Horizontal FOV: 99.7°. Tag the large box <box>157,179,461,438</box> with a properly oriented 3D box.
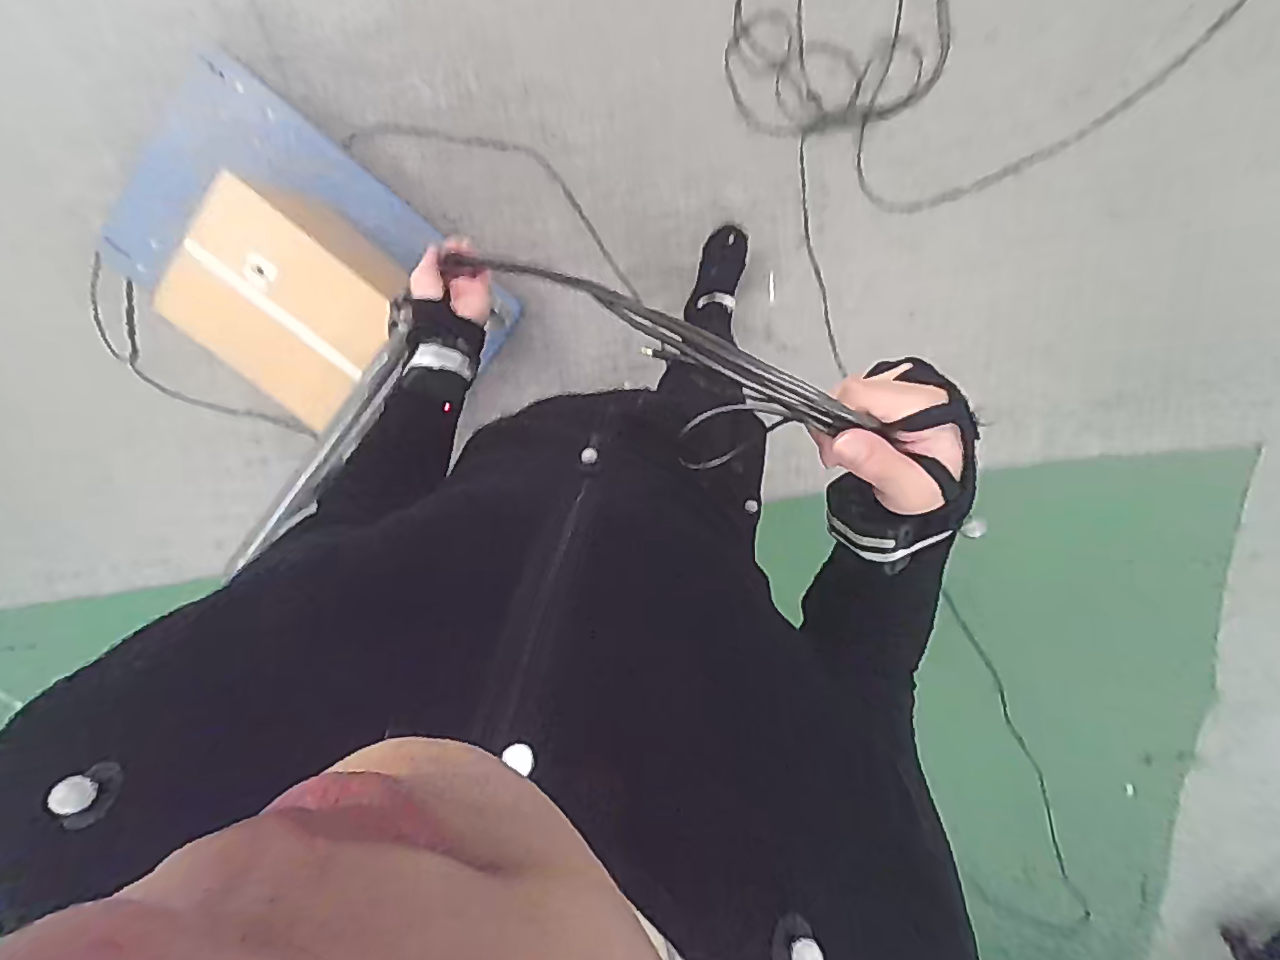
[{"bbox_3d":[-0.682,-0.354,1.182,0.408,0.320,0.320,40,103,-9],"label":"large box"}]
